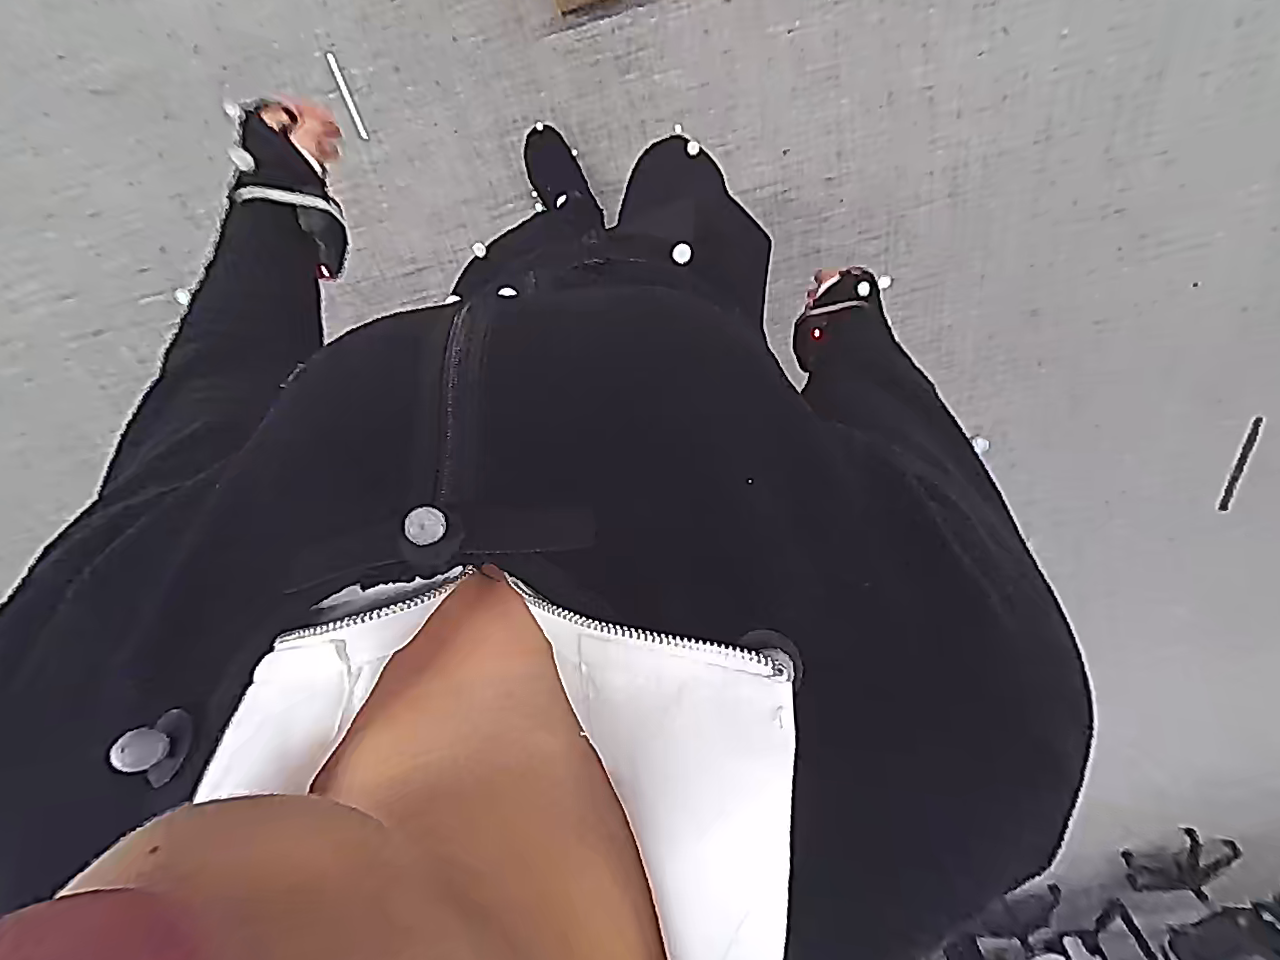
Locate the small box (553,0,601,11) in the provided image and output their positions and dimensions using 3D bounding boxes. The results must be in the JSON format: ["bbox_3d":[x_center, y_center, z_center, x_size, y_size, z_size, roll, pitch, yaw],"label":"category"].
[{"bbox_3d":[-0.094,-0.965,0.951,0.179,0.176,0.168,-13,123,6],"label":"small box"}]
